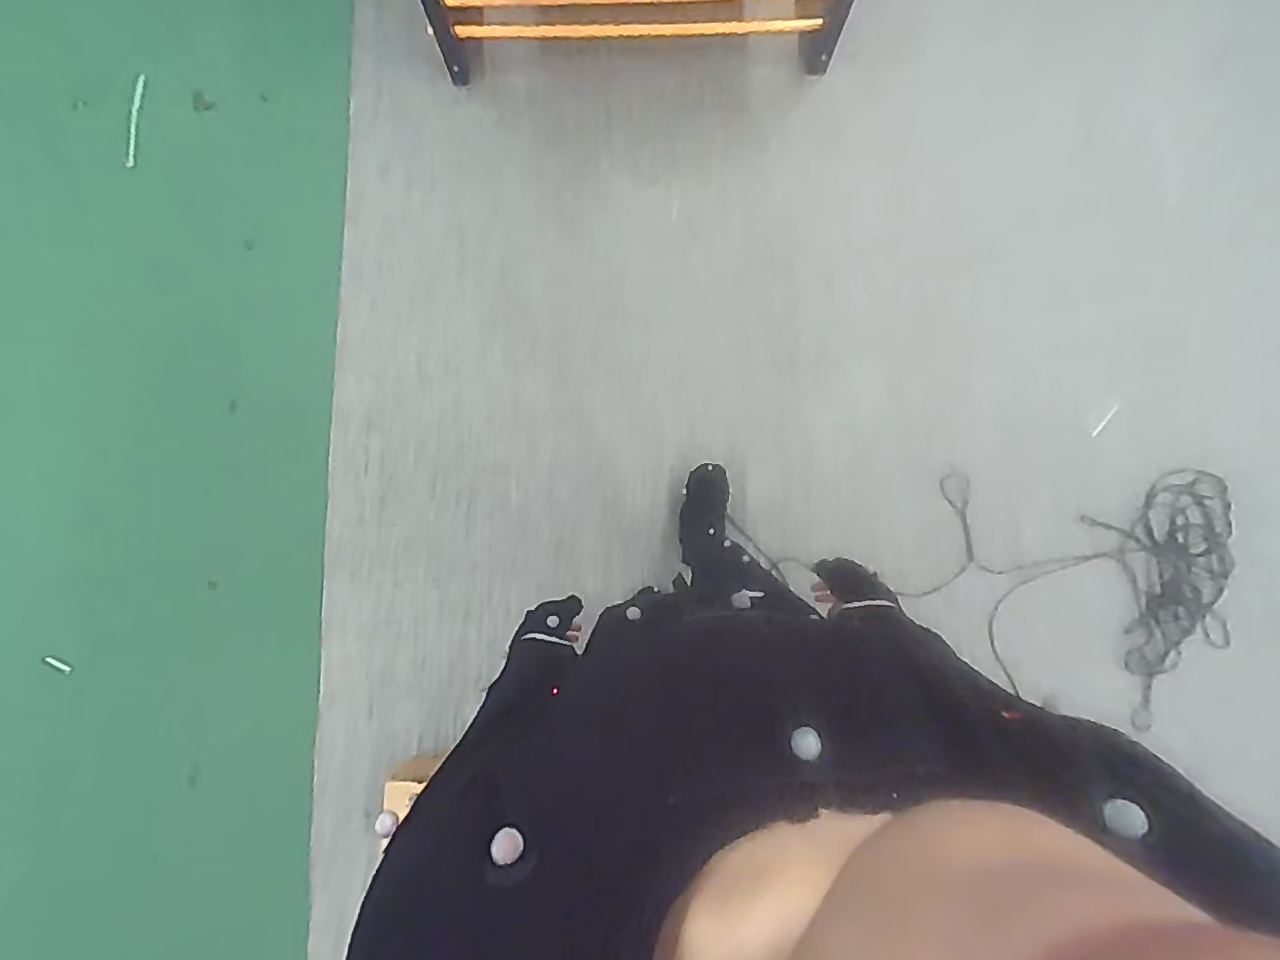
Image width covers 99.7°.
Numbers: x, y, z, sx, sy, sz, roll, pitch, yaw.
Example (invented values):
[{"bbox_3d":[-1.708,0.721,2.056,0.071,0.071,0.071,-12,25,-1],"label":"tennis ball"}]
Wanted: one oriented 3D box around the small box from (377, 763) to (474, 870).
[{"bbox_3d":[-0.505,0.797,1.296,0.168,0.176,0.179,0,82,0],"label":"small box"}]
